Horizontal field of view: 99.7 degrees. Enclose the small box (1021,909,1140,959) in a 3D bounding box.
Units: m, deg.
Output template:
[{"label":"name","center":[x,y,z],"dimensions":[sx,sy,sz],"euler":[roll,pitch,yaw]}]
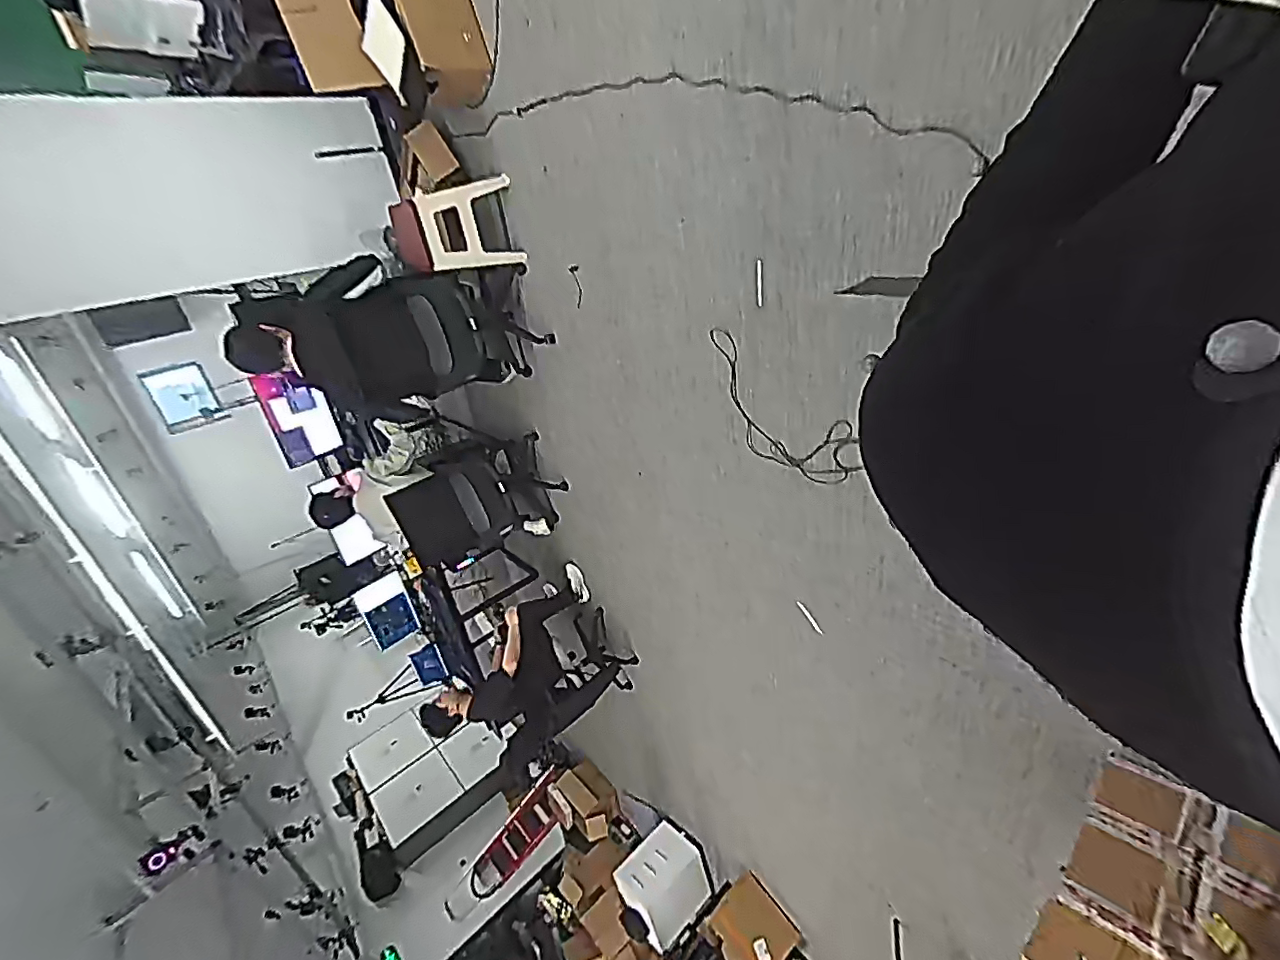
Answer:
[{"label":"small box","center":[0.969,1.107,1.197],"dimensions":[0.179,0.176,0.168],"euler":[15,122,49]}]
